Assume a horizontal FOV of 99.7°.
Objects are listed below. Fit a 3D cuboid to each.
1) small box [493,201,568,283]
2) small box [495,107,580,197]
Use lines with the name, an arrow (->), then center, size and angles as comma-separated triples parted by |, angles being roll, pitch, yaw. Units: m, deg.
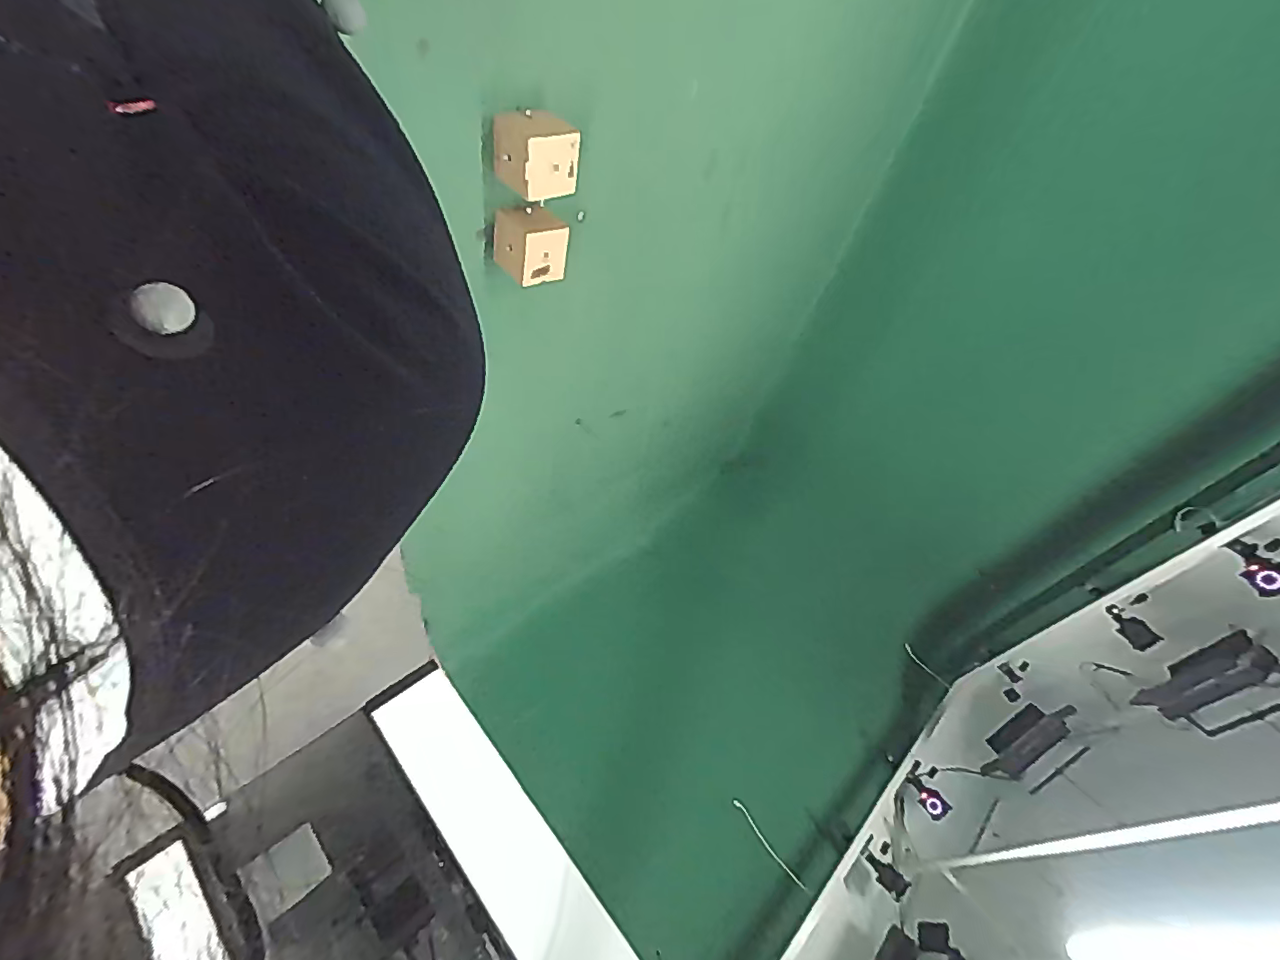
small box -> -0.357, -0.765, 1.732 | 0.168, 0.176, 0.179 | -29, 153, -36
small box -> -0.298, -0.934, 1.534 | 0.179, 0.176, 0.168 | -29, 154, -32
